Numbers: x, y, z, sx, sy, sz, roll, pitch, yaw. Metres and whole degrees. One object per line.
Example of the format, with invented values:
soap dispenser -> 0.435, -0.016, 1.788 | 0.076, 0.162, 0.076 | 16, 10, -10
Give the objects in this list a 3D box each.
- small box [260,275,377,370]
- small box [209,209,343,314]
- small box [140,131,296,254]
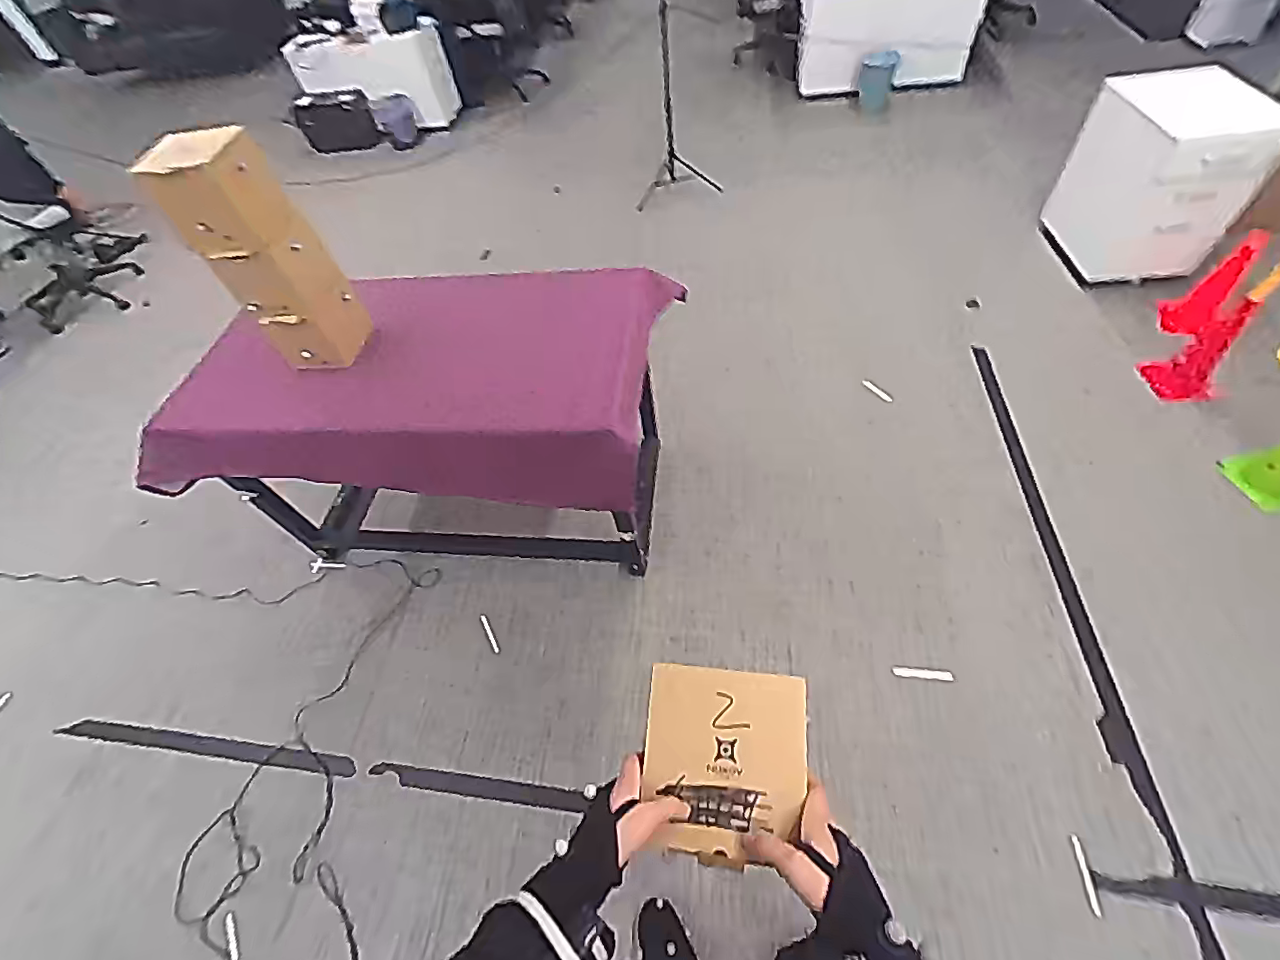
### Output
small box -> -0.815, -0.406, 1.396 | 0.168, 0.176, 0.179 | 1, 54, 10
small box -> -0.836, -0.504, 1.266 | 0.168, 0.176, 0.179 | -1, 53, 7
small box -> -0.869, -0.603, 1.140 | 0.168, 0.176, 0.179 | -5, 53, 4
